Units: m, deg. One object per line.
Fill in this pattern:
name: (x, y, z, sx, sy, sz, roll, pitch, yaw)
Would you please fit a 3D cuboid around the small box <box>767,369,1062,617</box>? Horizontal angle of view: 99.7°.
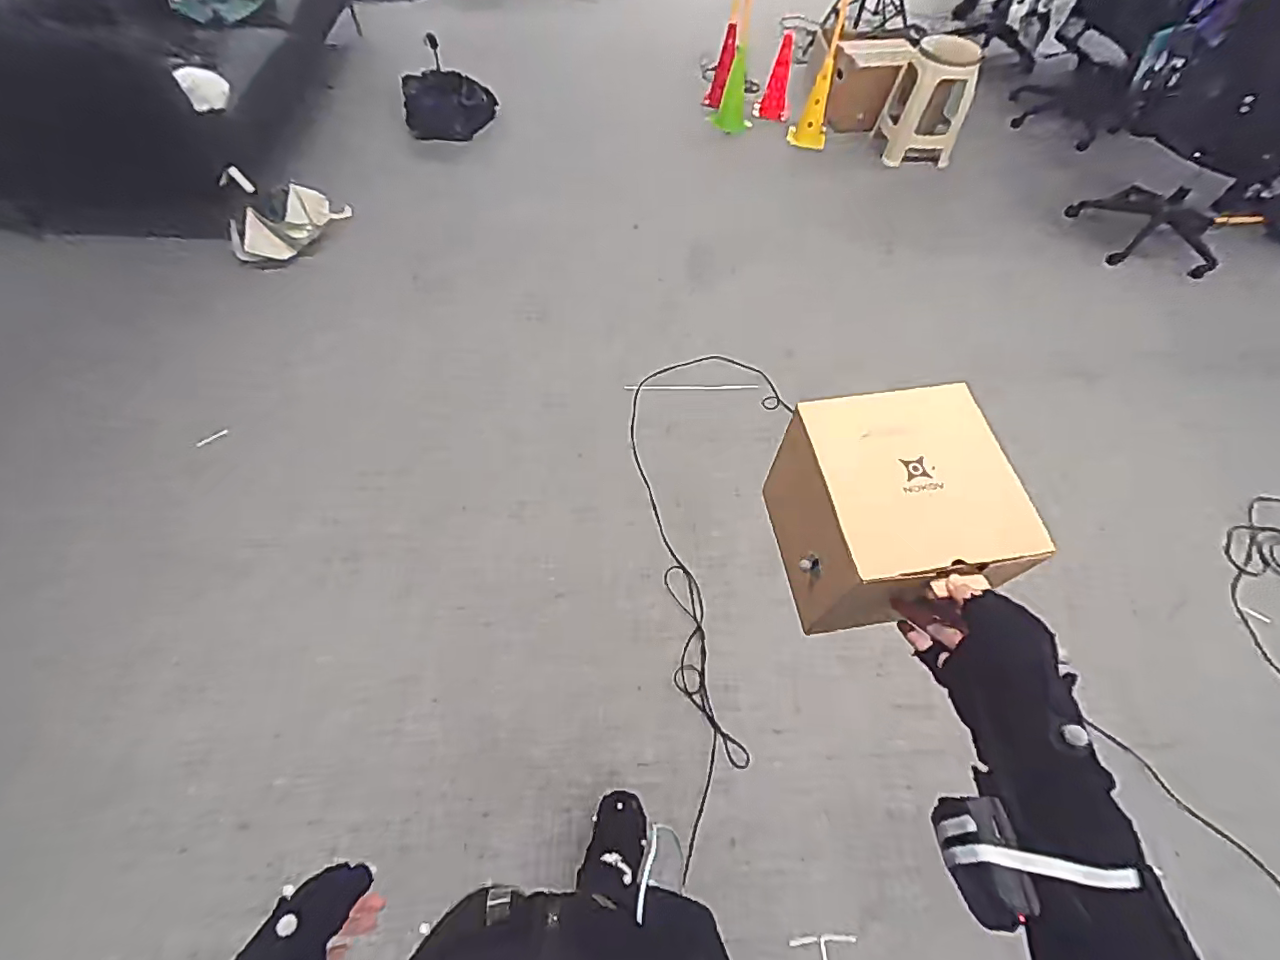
small box: (0.235, 0.023, 0.521, 0.168, 0.176, 0.179, -8, 61, -4)
